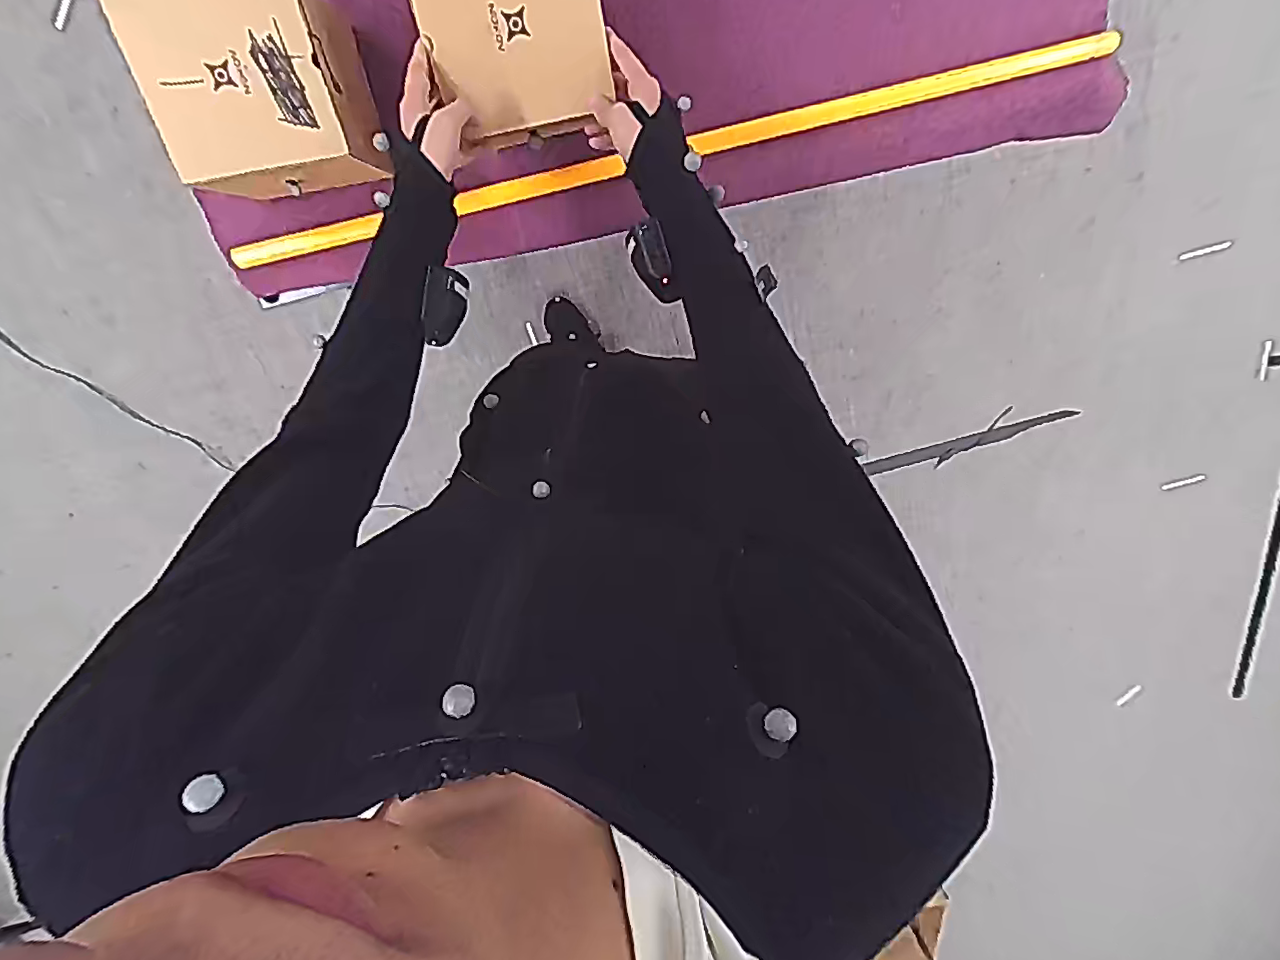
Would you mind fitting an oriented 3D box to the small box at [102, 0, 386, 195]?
[{"bbox_3d":[-0.403,-0.423,0.595,0.179,0.176,0.168,-12,114,-2],"label":"small box"}]

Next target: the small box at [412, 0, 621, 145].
[{"bbox_3d":[-0.121,-0.468,0.574,0.179,0.176,0.168,-10,120,4],"label":"small box"}]

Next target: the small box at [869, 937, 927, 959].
[{"bbox_3d":[0.866,1.646,1.768,0.168,0.176,0.179,-10,114,-1],"label":"small box"}]
